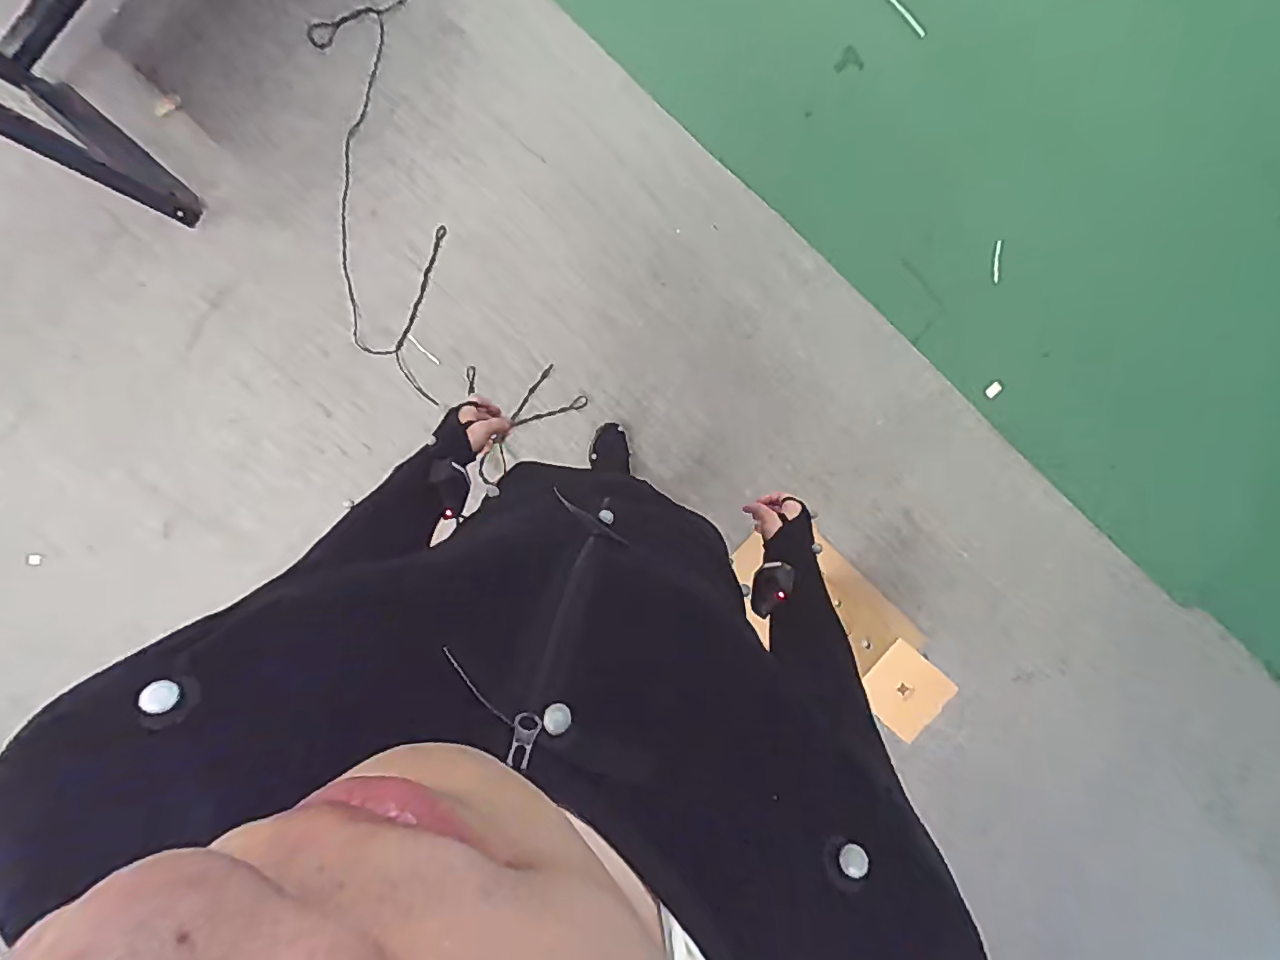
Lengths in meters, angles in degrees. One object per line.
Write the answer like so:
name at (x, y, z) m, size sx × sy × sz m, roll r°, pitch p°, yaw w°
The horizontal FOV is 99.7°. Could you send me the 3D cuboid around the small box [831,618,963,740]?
small box at (0.570, 0.437, 1.227) m, size 0.179 × 0.176 × 0.168 m, roll 40°, pitch 93°, yaw -3°
